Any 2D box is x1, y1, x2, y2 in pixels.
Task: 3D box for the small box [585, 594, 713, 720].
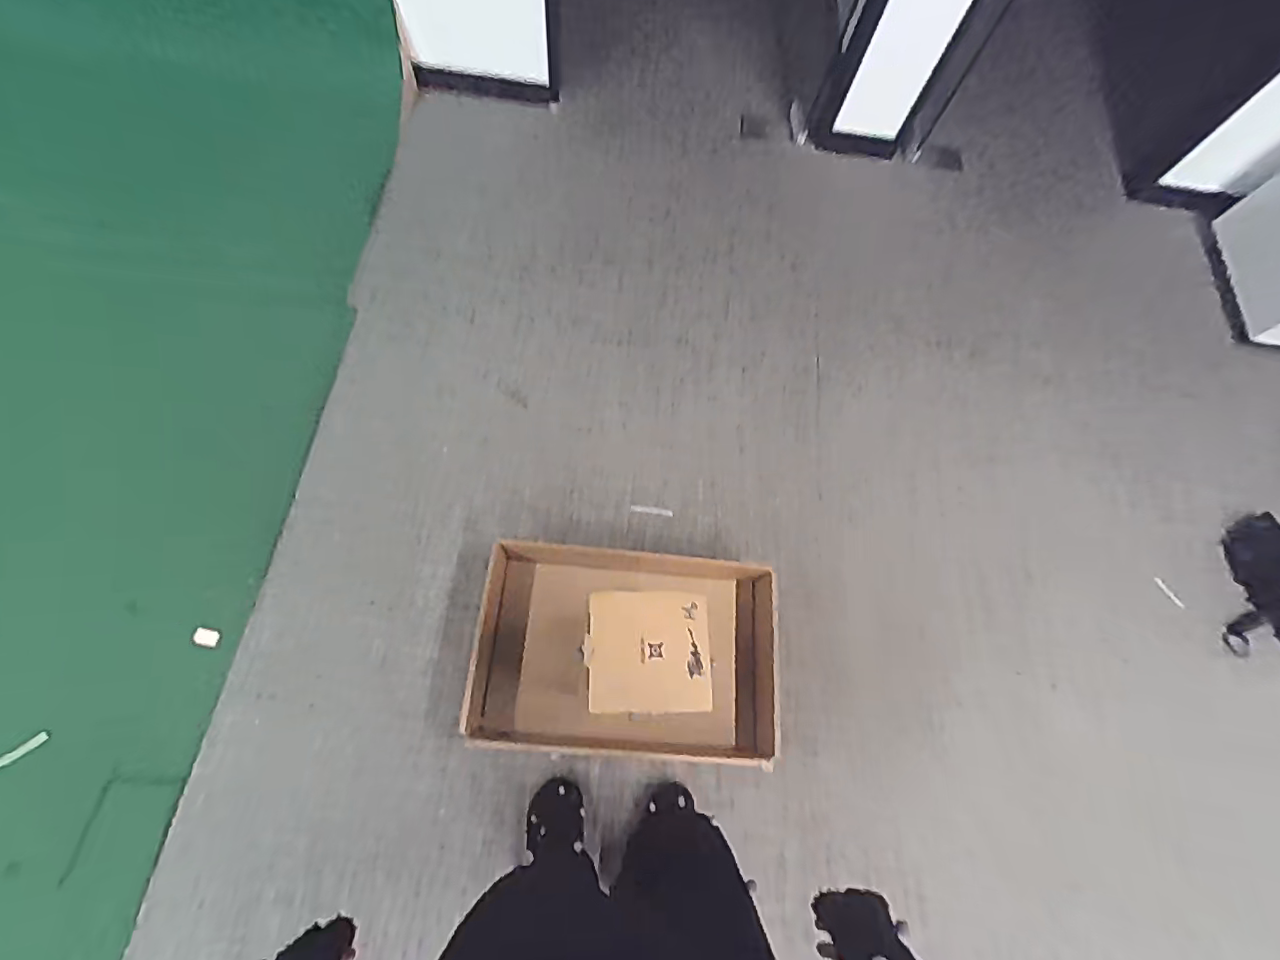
[{"bbox_3d":[0.003,0.280,0.845,0.179,0.176,0.168,0,65,-8],"label":"small box"}]
